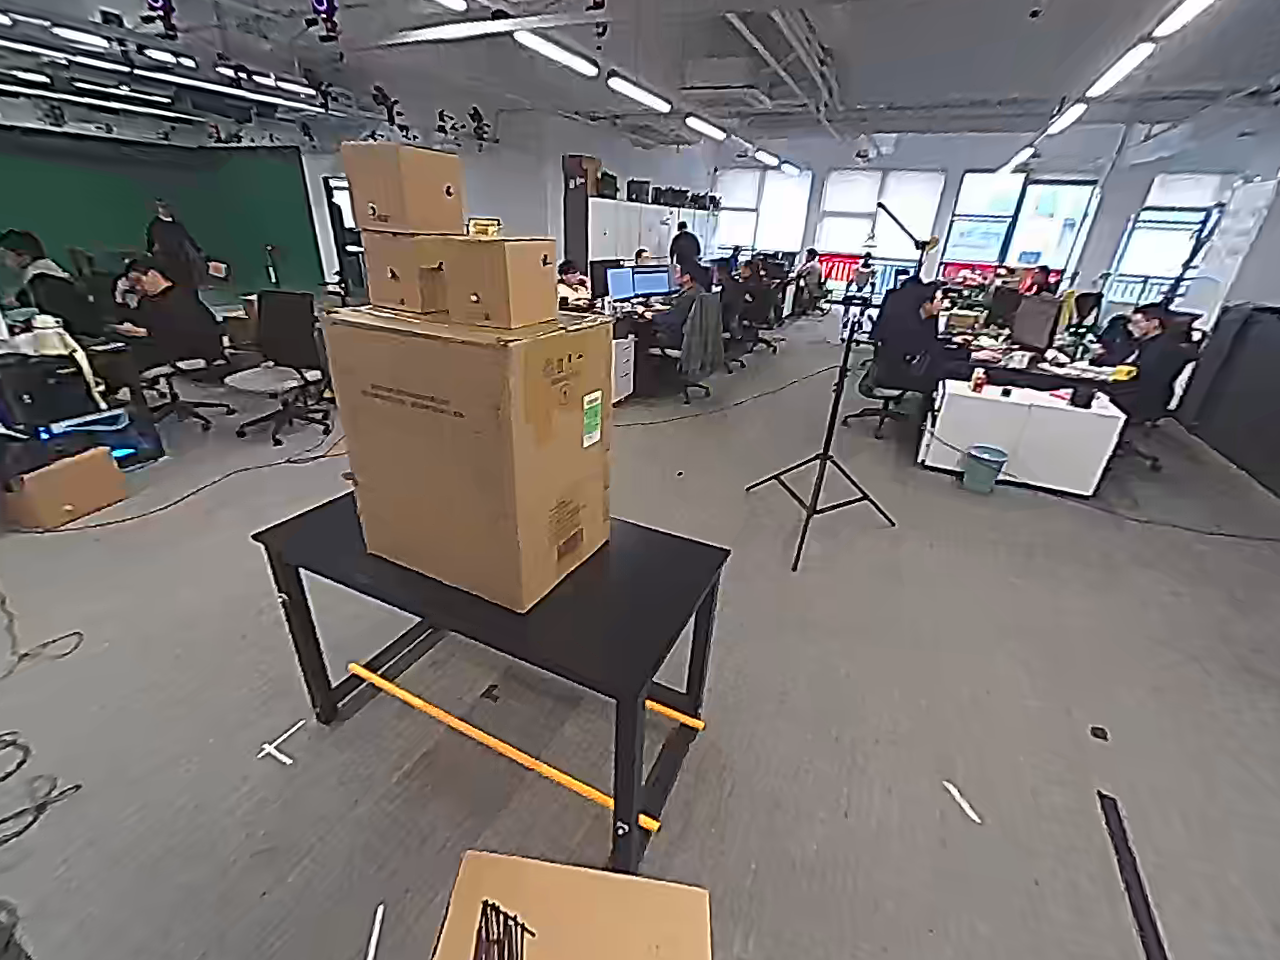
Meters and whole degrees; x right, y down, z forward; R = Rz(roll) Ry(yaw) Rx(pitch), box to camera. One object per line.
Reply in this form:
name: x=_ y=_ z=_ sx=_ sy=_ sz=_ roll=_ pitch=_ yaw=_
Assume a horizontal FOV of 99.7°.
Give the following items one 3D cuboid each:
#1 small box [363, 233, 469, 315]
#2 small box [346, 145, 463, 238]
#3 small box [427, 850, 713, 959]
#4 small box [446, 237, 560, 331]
small box: x=-0.517 y=-0.495 z=1.288 sx=0.168 sy=0.176 sz=0.179 roll=15 pitch=28 yaw=21
small box: x=-0.515 y=-0.637 z=1.207 sx=0.168 sy=0.176 sz=0.179 roll=13 pitch=27 yaw=21
small box: x=-0.056 y=0.375 z=0.341 sx=0.179 sy=0.176 sz=0.168 roll=12 pitch=31 yaw=-4
small box: x=-0.286 y=-0.423 z=1.157 sx=0.168 sy=0.176 sz=0.179 roll=12 pitch=27 yaw=23
